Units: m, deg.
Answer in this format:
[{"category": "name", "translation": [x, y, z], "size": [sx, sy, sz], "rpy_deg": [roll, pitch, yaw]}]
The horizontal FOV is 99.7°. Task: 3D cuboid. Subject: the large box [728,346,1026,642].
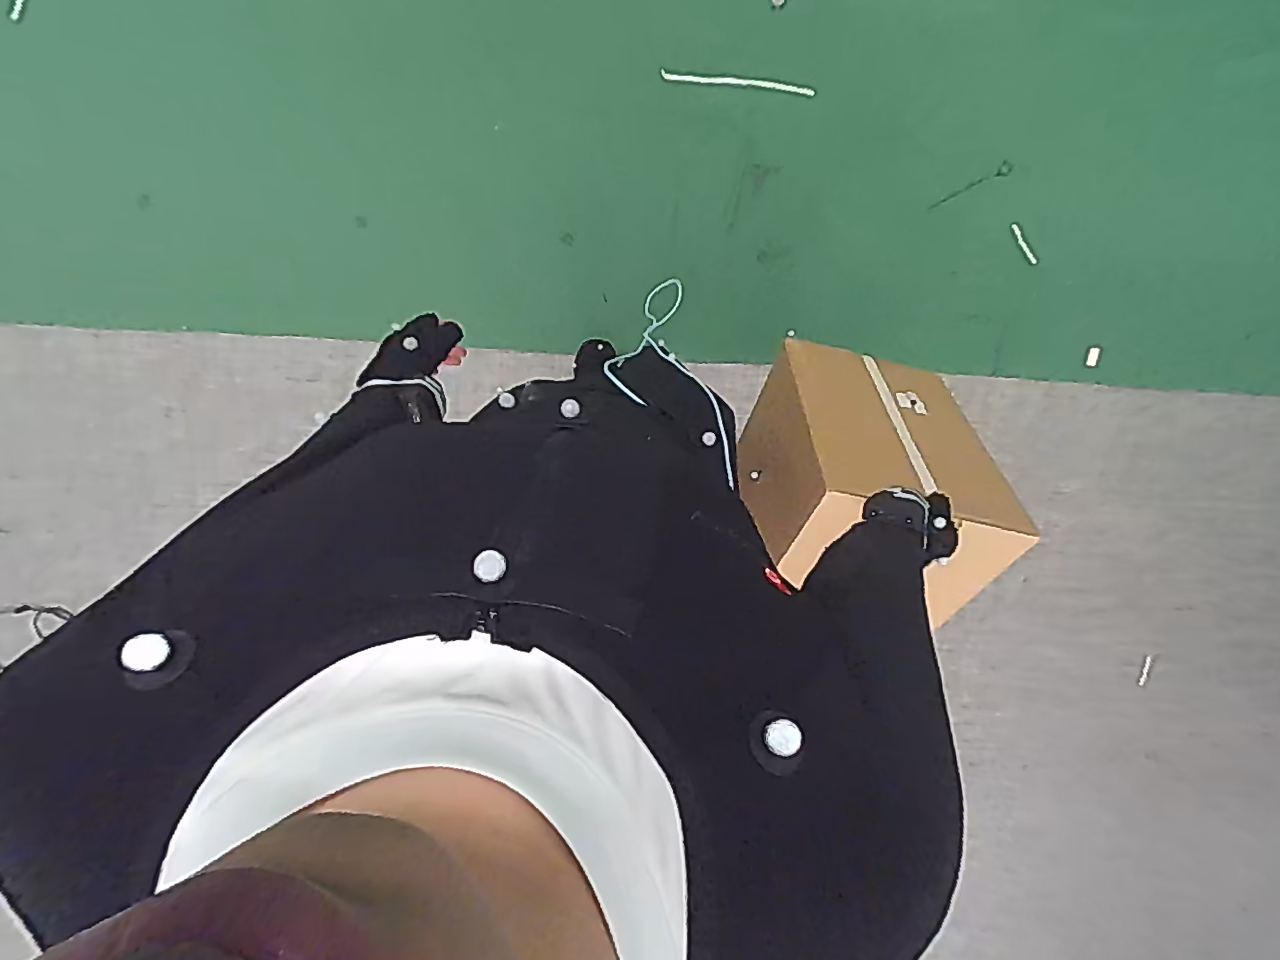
[{"category": "large box", "translation": [0.362, 0.022, 0.968], "size": [0.320, 0.408, 0.320], "rpy_deg": [13, 132, -7]}]
